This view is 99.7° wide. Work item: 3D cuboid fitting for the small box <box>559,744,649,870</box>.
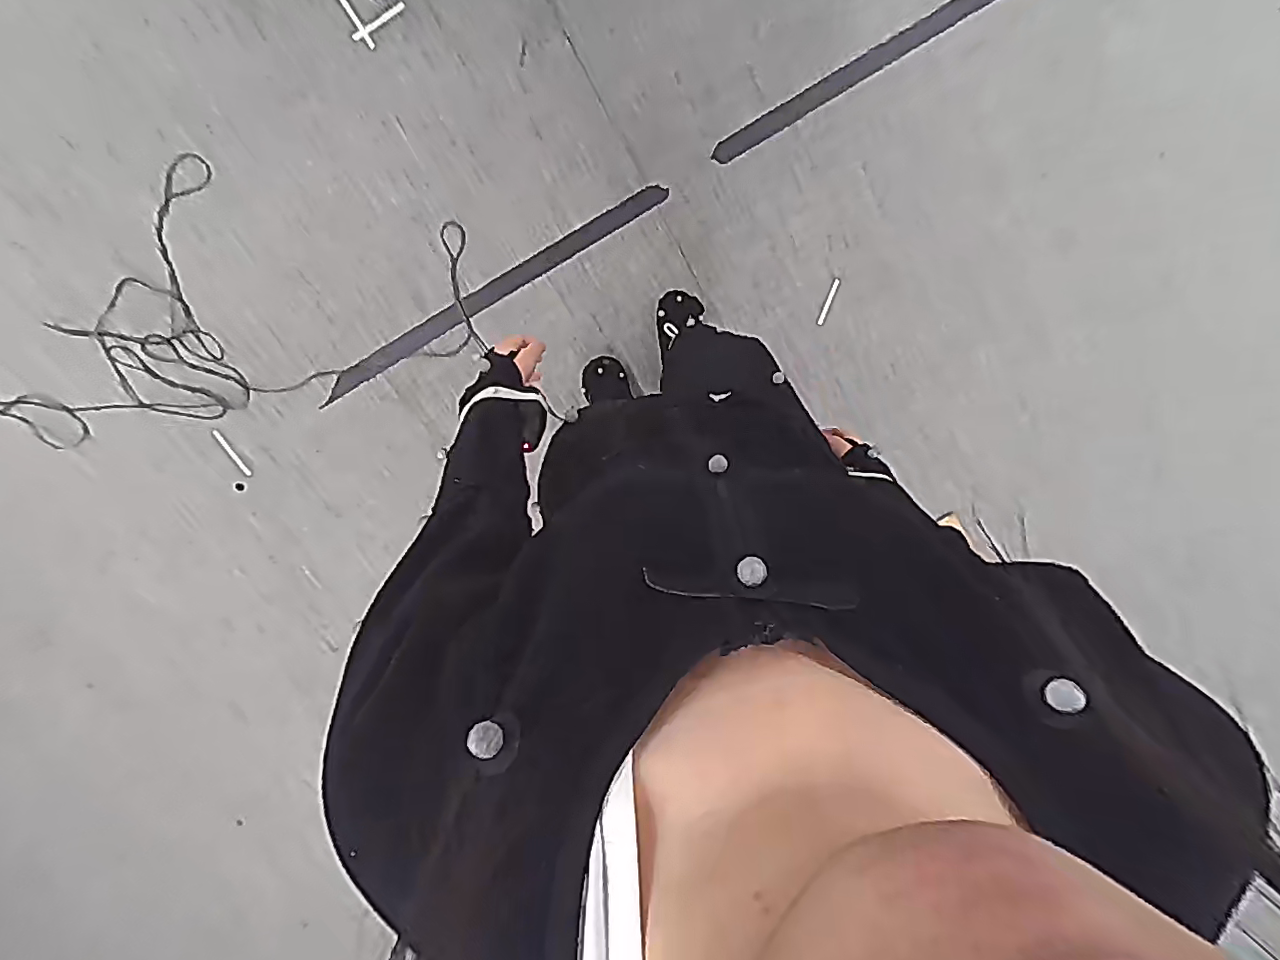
[{"bbox_3d":[-0.084,0.775,1.291,0.168,0.176,0.179,16,102,-7],"label":"small box"}]
